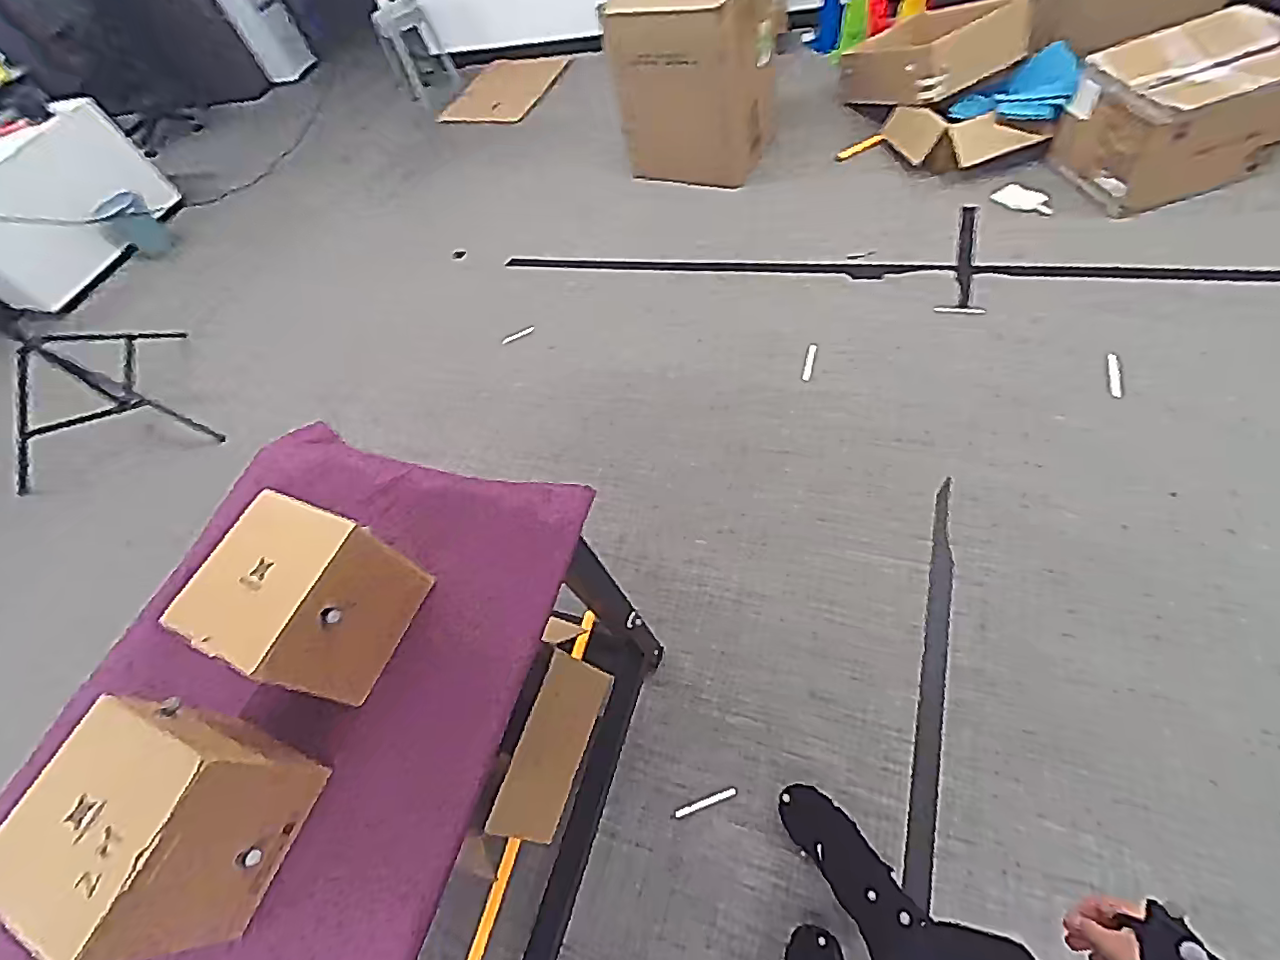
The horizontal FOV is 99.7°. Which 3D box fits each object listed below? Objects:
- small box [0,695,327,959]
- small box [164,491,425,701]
[{"bbox_3d":[-0.478,0.344,0.553,0.179,0.176,0.168,12,63,21],"label":"small box"},{"bbox_3d":[-0.396,0.143,0.658,0.168,0.176,0.179,14,64,23],"label":"small box"}]
